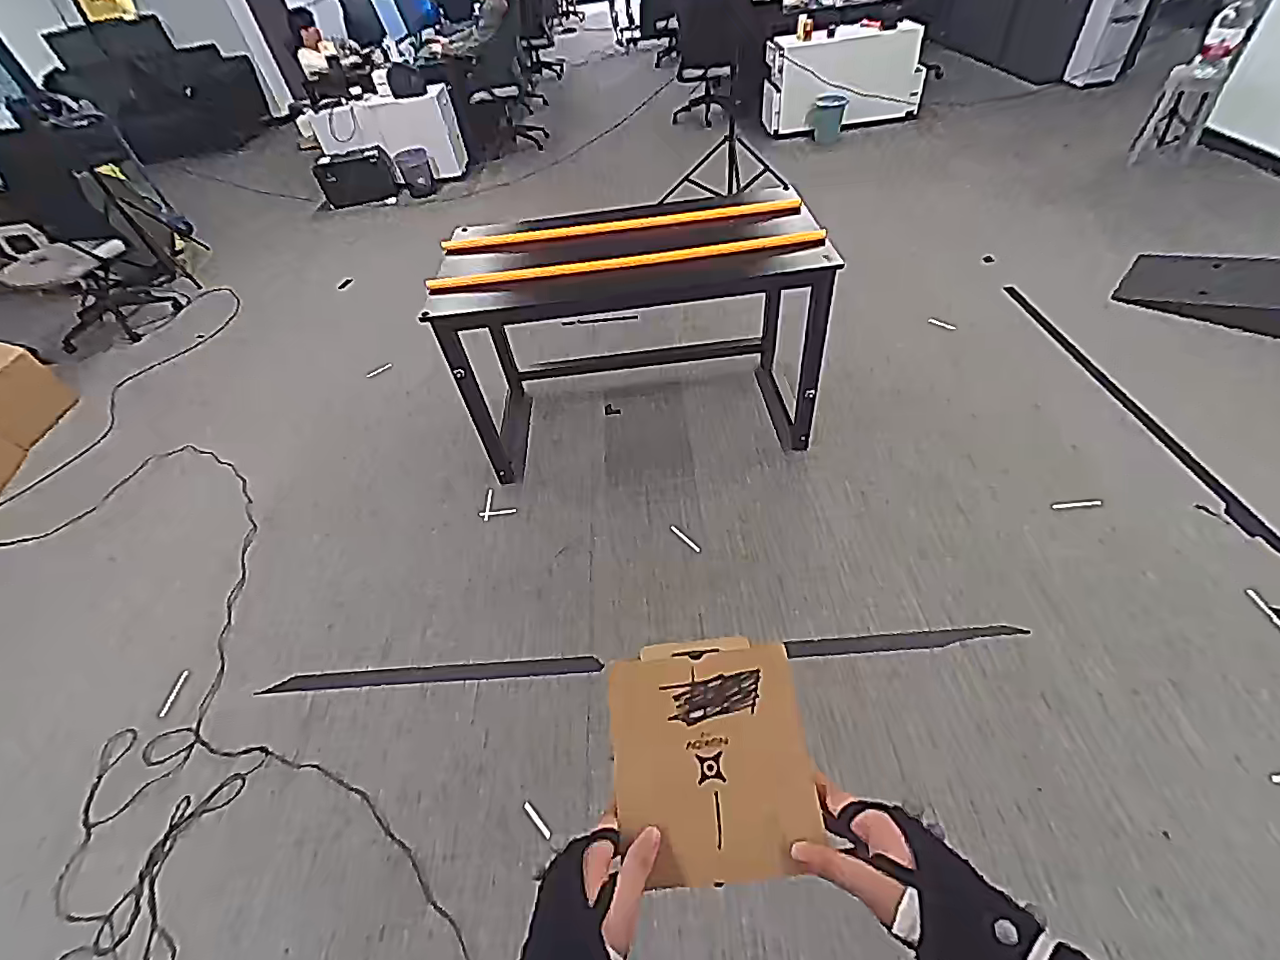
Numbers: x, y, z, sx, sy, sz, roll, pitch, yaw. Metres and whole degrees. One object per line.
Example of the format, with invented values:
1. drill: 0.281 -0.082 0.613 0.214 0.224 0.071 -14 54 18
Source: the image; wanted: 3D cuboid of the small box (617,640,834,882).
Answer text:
1. small box: 0.071 0.272 0.533 0.168 0.176 0.179 -8 61 3
